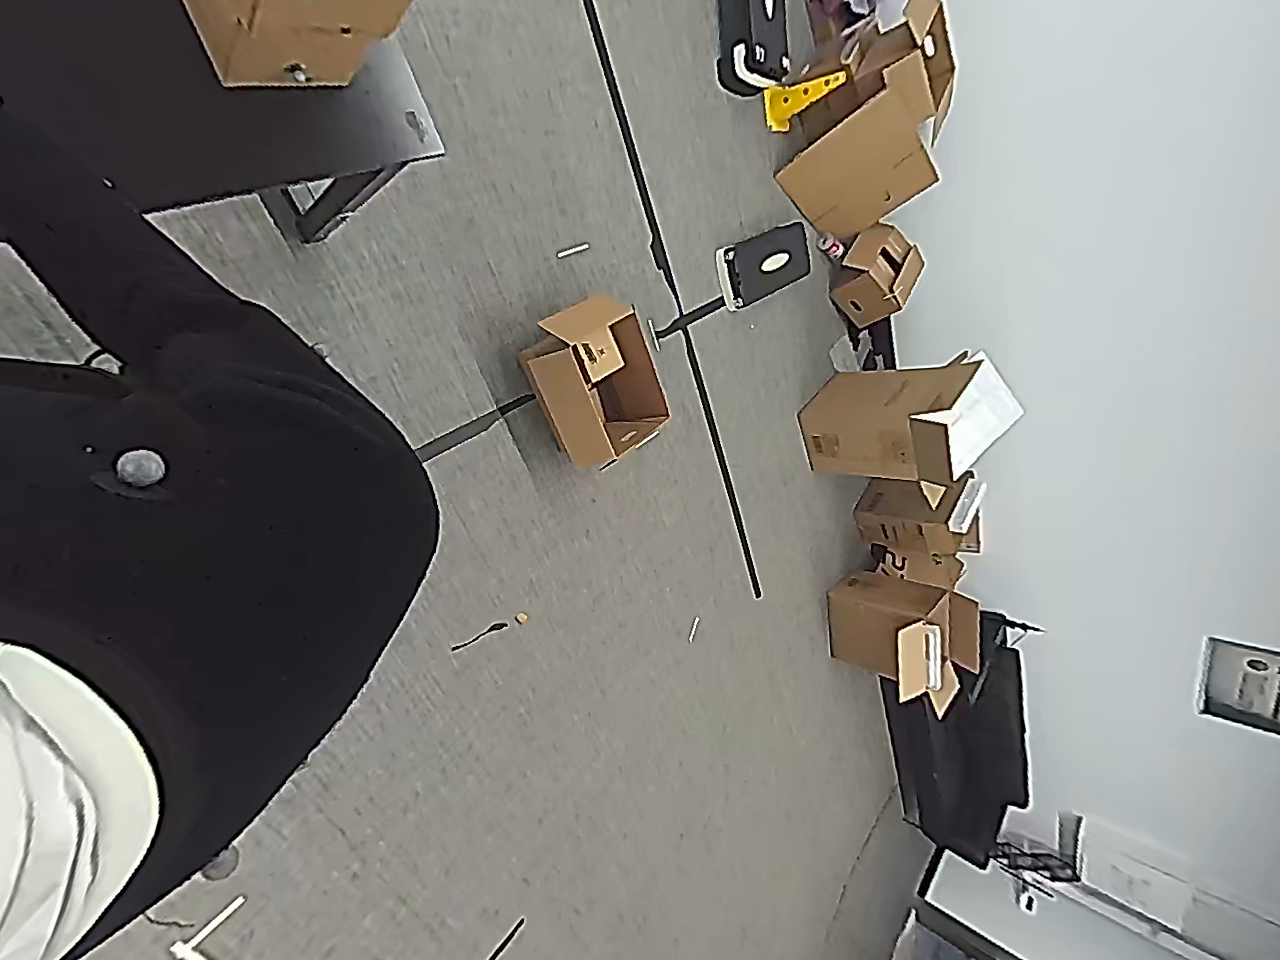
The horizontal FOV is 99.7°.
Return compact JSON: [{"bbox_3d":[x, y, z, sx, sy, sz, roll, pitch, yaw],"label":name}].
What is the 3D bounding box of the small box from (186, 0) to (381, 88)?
[{"bbox_3d":[-0.459,-0.621,0.666,0.168,0.176,0.179,-32,116,-35],"label":"small box"}]
